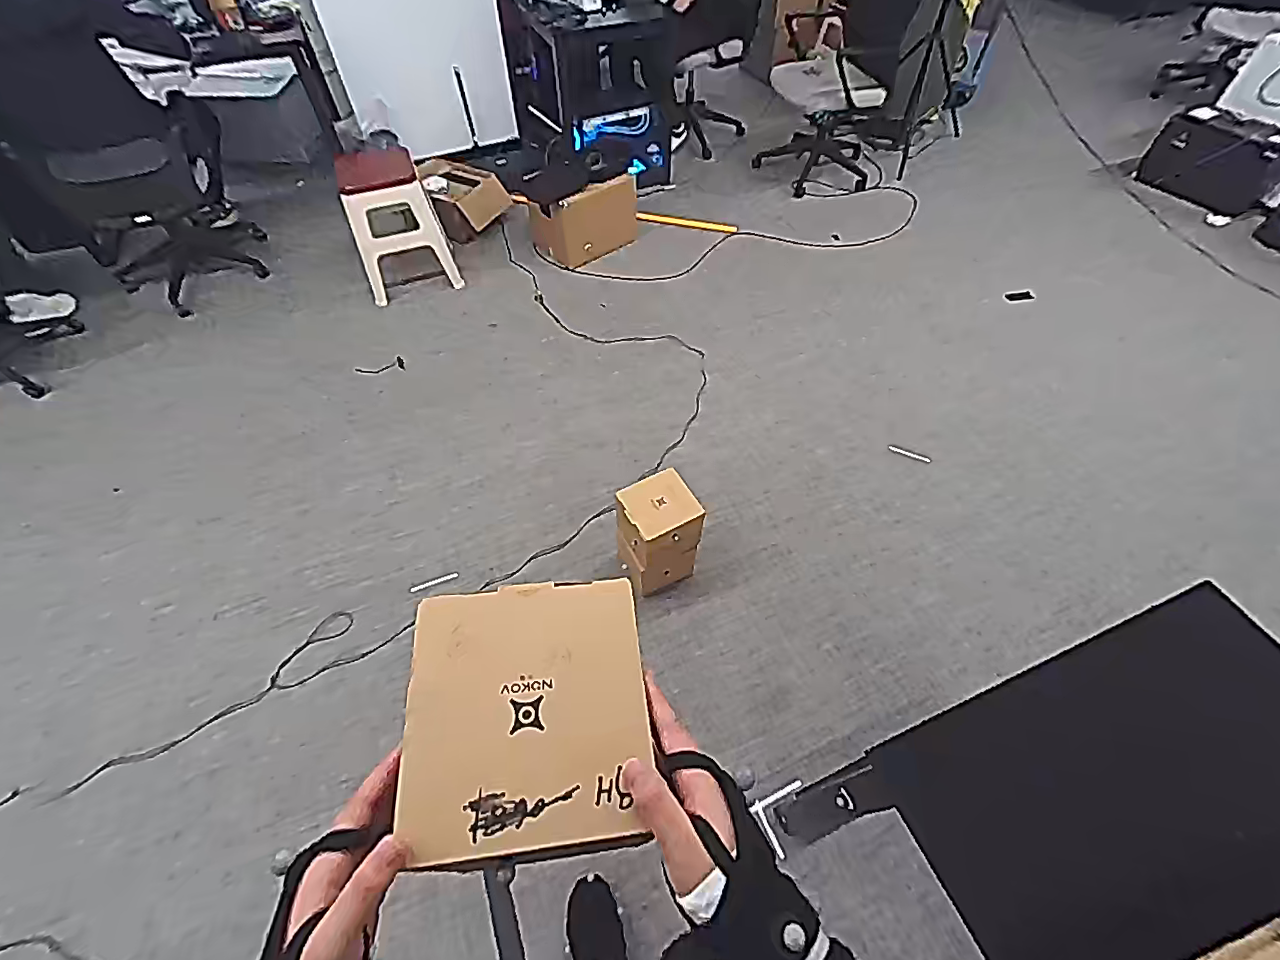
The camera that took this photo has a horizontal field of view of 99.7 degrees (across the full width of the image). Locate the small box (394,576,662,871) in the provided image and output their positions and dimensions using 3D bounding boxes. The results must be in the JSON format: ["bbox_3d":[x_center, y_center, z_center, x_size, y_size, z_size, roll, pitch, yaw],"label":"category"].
[{"bbox_3d":[-0.080,0.200,0.443,0.168,0.176,0.179,-4,53,-6],"label":"small box"}]

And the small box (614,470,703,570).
[{"bbox_3d":[0.047,0.110,1.432,0.179,0.176,0.168,-24,59,-18],"label":"small box"}]

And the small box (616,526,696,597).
[{"bbox_3d":[0.043,0.209,1.562,0.179,0.176,0.168,-23,57,-14],"label":"small box"}]
